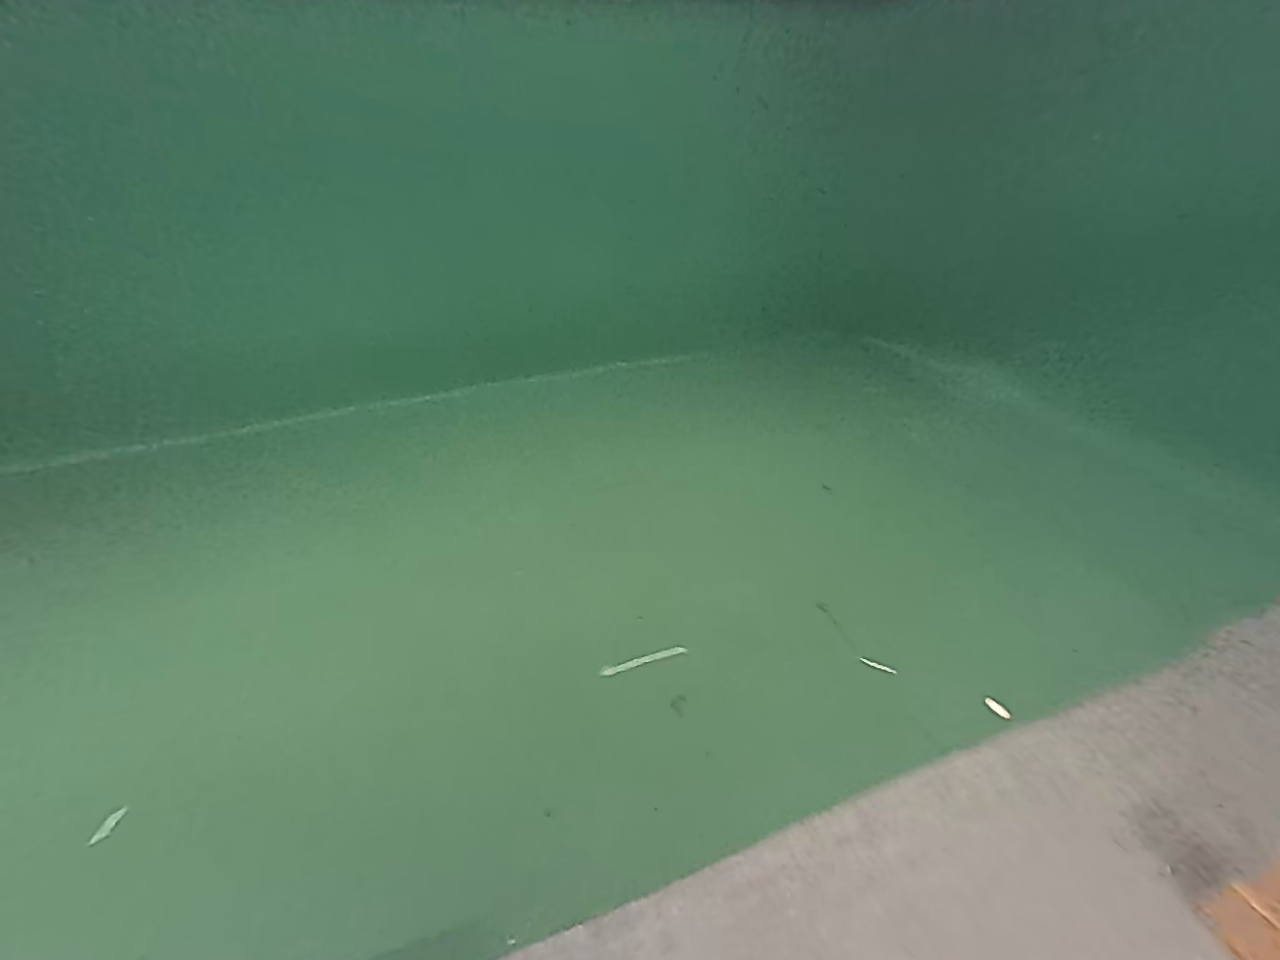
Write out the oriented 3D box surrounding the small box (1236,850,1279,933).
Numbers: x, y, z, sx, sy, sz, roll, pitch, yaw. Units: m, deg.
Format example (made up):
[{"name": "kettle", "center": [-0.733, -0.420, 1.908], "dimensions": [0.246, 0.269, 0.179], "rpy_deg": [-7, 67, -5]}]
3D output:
[{"name": "small box", "center": [1.460, 0.889, 1.153], "dimensions": [0.179, 0.176, 0.168], "rpy_deg": [-10, 37, -11]}]
